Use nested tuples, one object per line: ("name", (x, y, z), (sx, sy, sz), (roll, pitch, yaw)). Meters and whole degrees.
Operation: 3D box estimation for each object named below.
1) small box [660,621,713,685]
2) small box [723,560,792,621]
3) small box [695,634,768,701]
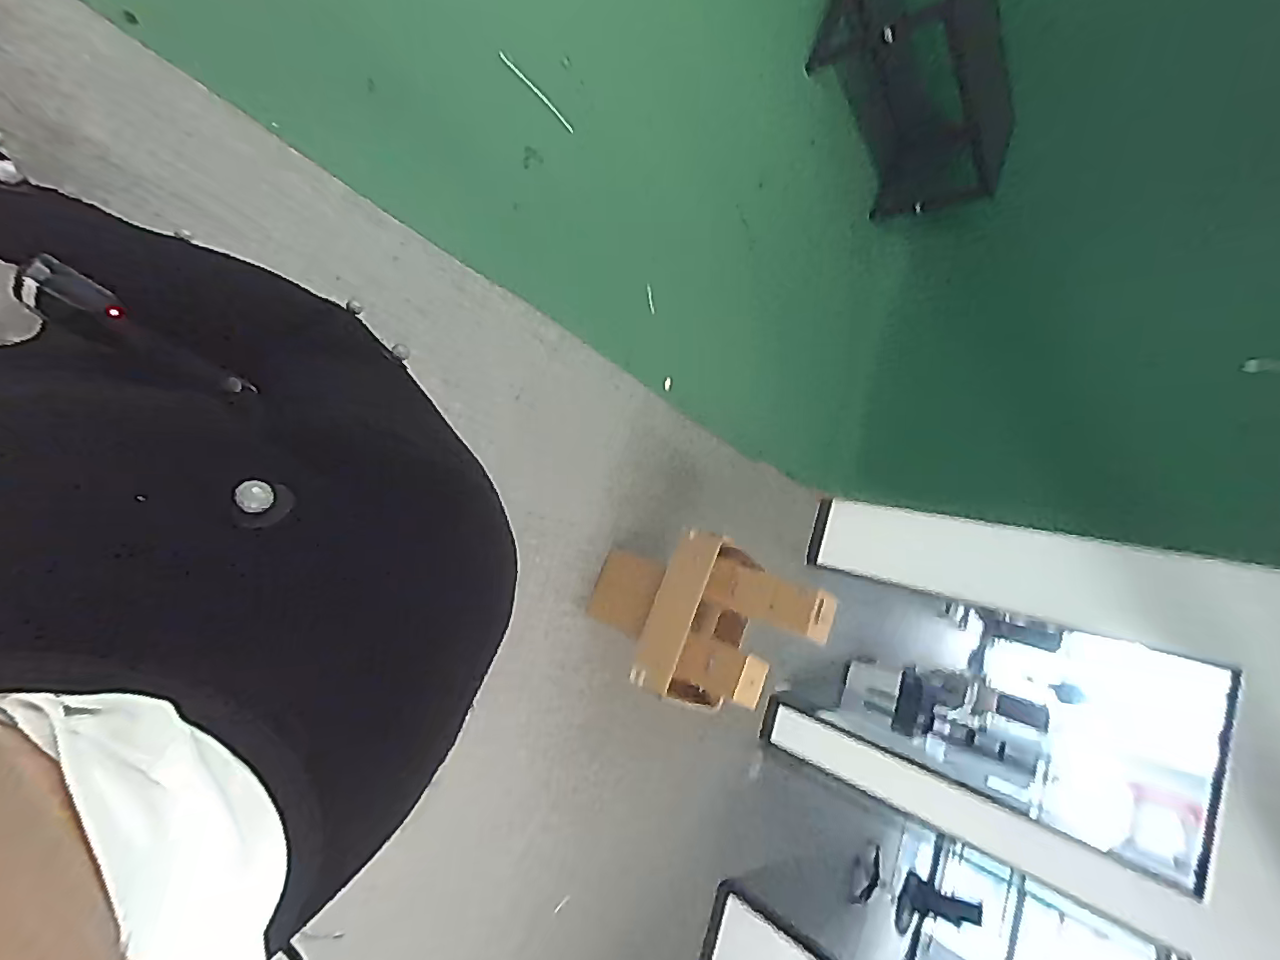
("small box", (0.208, 0.656, 2.058), (0.179, 0.176, 0.168), (40, 69, -43))
("small box", (0.437, 0.410, 2.013), (0.179, 0.176, 0.168), (31, 75, -46))
("small box", (0.328, 0.672, 1.948), (0.179, 0.176, 0.168), (39, 69, -44))
